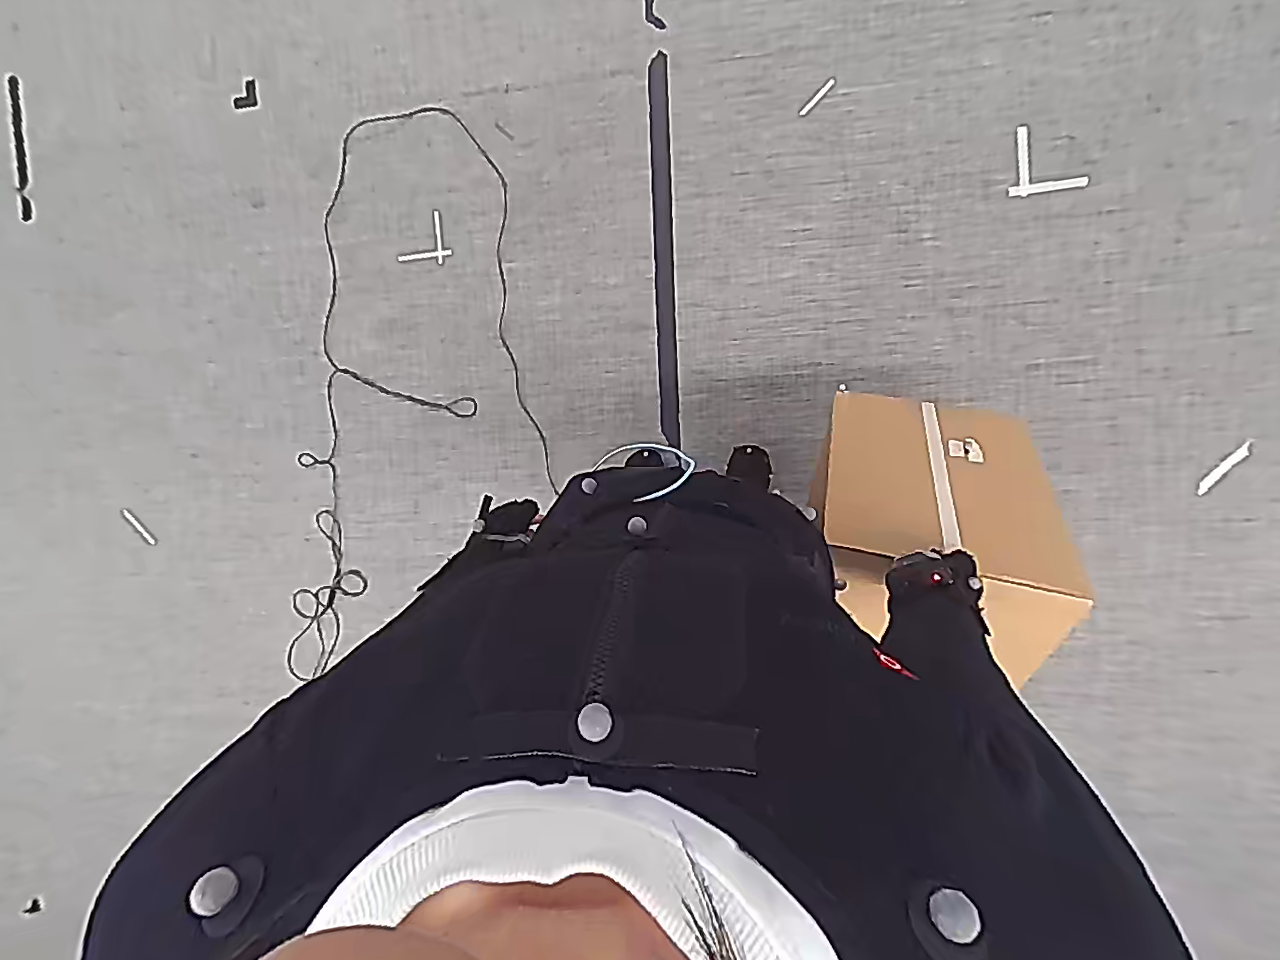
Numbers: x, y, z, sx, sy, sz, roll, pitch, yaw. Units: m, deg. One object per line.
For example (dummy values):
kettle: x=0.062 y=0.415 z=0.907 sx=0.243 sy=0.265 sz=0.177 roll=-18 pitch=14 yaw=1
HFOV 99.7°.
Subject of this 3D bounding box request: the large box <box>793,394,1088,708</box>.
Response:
large box: x=0.449 y=0.101 z=0.920 sx=0.320 sy=0.408 sz=0.320 roll=11 pitch=131 yaw=12
